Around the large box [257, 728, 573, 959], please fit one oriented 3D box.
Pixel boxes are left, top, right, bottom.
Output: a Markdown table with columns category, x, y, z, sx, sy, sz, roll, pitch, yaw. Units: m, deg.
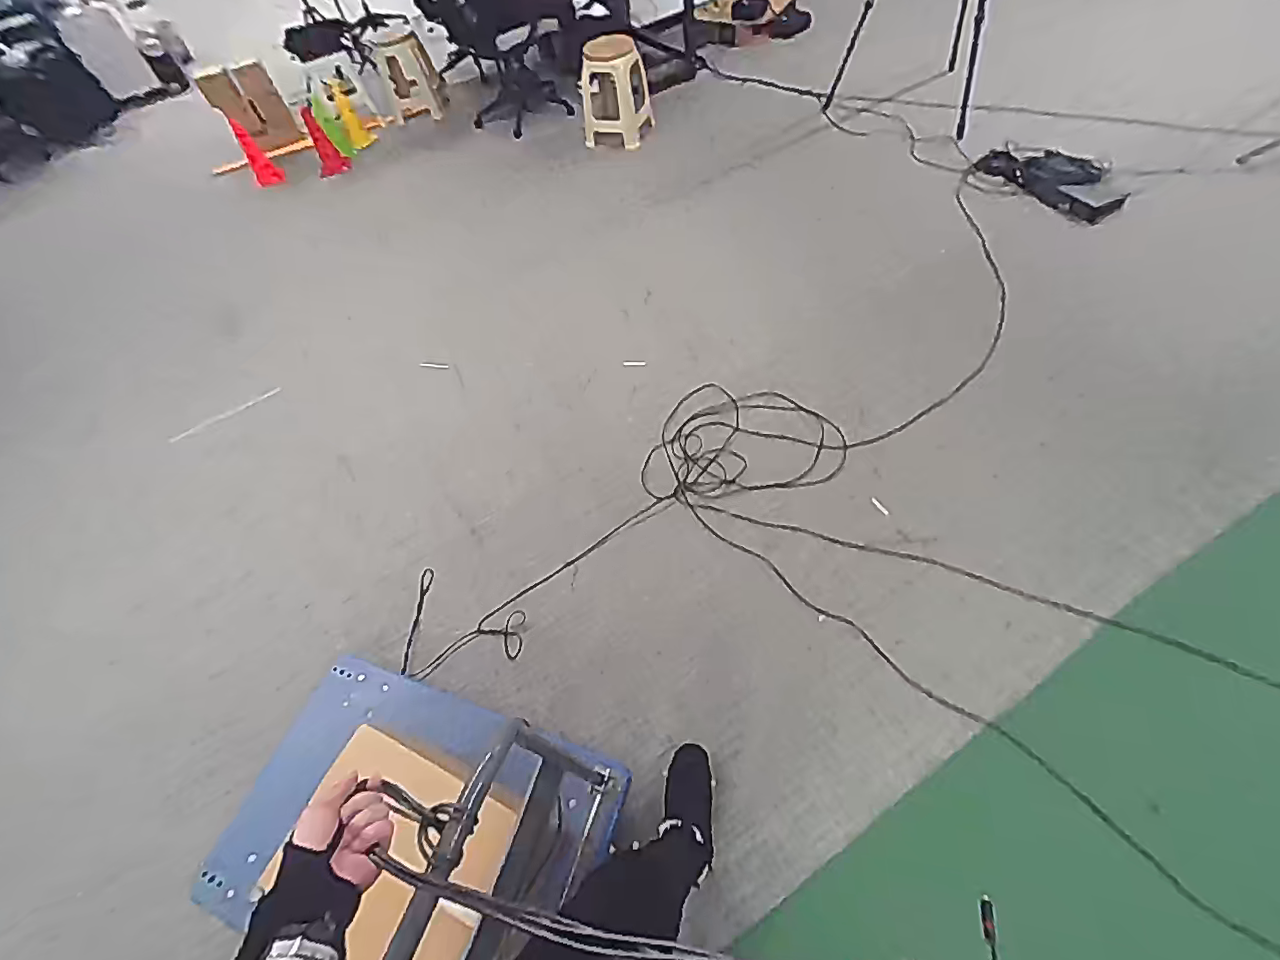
| category | x | y | z | sx | sy | sz | roll | pitch | yaw |
| --- | --- | --- | --- | --- | --- | --- | --- | --- | --- |
| large box | -0.400 | 0.740 | 1.056 | 0.408 | 0.320 | 0.320 | 17 | 61 | 20 |
